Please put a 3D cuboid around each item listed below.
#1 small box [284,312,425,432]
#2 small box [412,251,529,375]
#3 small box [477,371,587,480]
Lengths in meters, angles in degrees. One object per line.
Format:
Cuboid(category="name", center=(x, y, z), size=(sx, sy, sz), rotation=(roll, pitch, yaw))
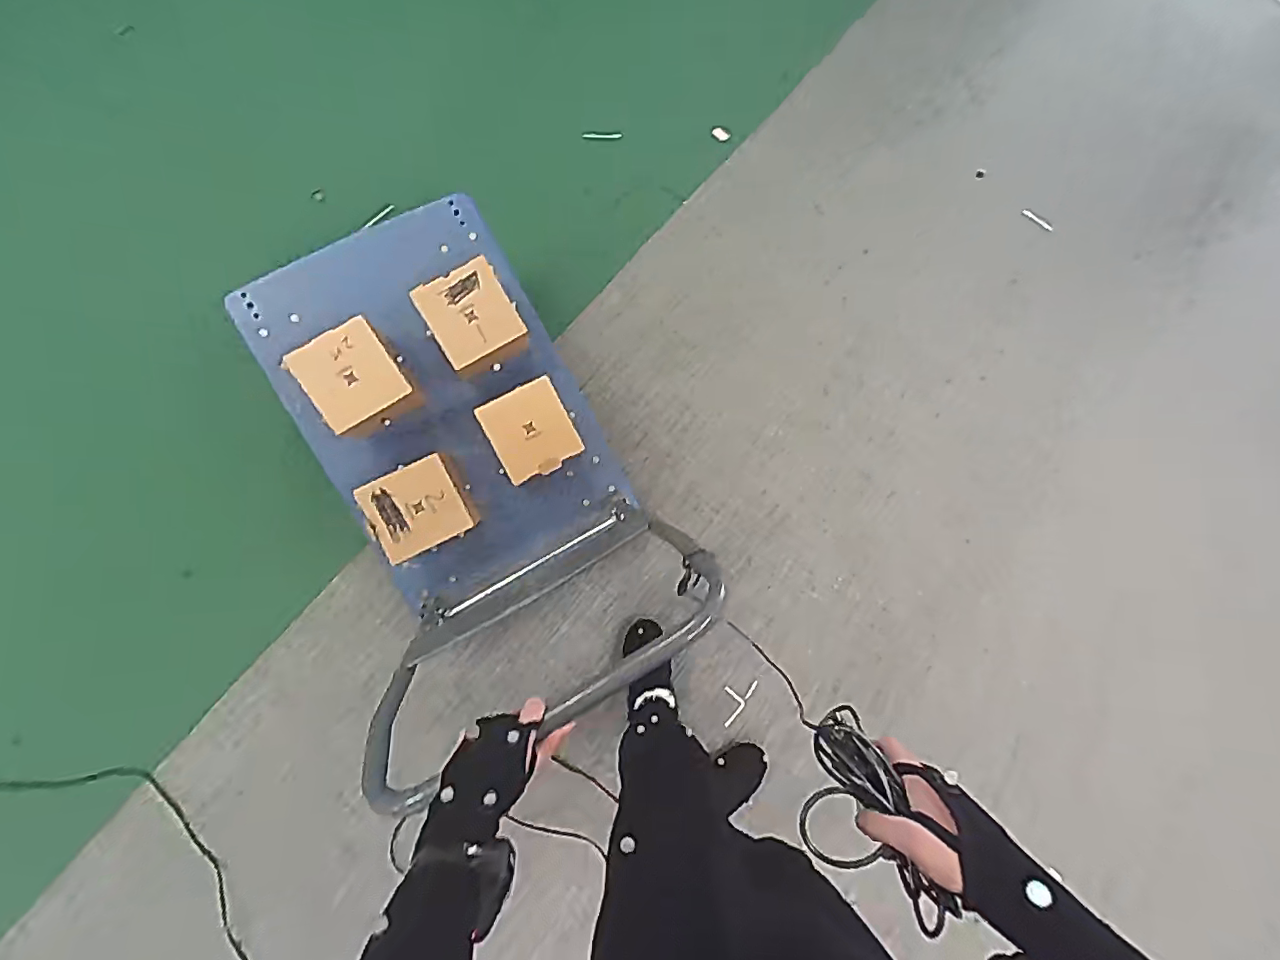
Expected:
Cuboid(category="small box", center=(-0.567, -0.210, 1.106), size=(0.168, 0.176, 0.179), rotation=(-33, 97, -9))
Cuboid(category="small box", center=(-0.350, -0.343, 1.144), size=(0.168, 0.176, 0.179), rotation=(-31, 99, -8))
Cuboid(category="small box", center=(-0.234, -0.113, 1.175), size=(0.168, 0.176, 0.179), rotation=(-29, 97, -9))
